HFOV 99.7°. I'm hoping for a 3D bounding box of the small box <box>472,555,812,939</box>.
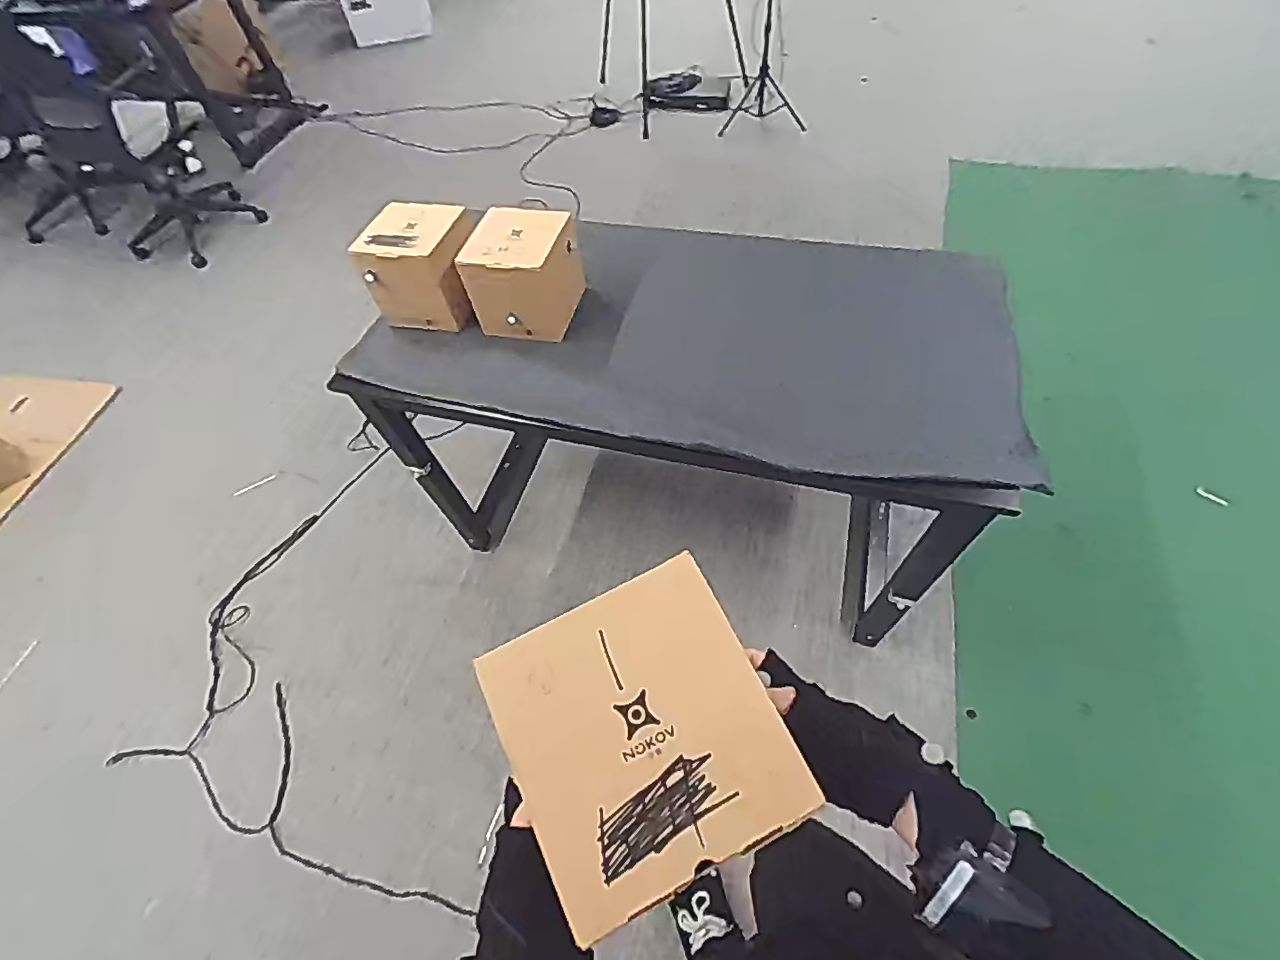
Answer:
[{"bbox_3d":[0.000,0.183,0.417,0.168,0.176,0.179,-25,71,-7],"label":"small box"}]
